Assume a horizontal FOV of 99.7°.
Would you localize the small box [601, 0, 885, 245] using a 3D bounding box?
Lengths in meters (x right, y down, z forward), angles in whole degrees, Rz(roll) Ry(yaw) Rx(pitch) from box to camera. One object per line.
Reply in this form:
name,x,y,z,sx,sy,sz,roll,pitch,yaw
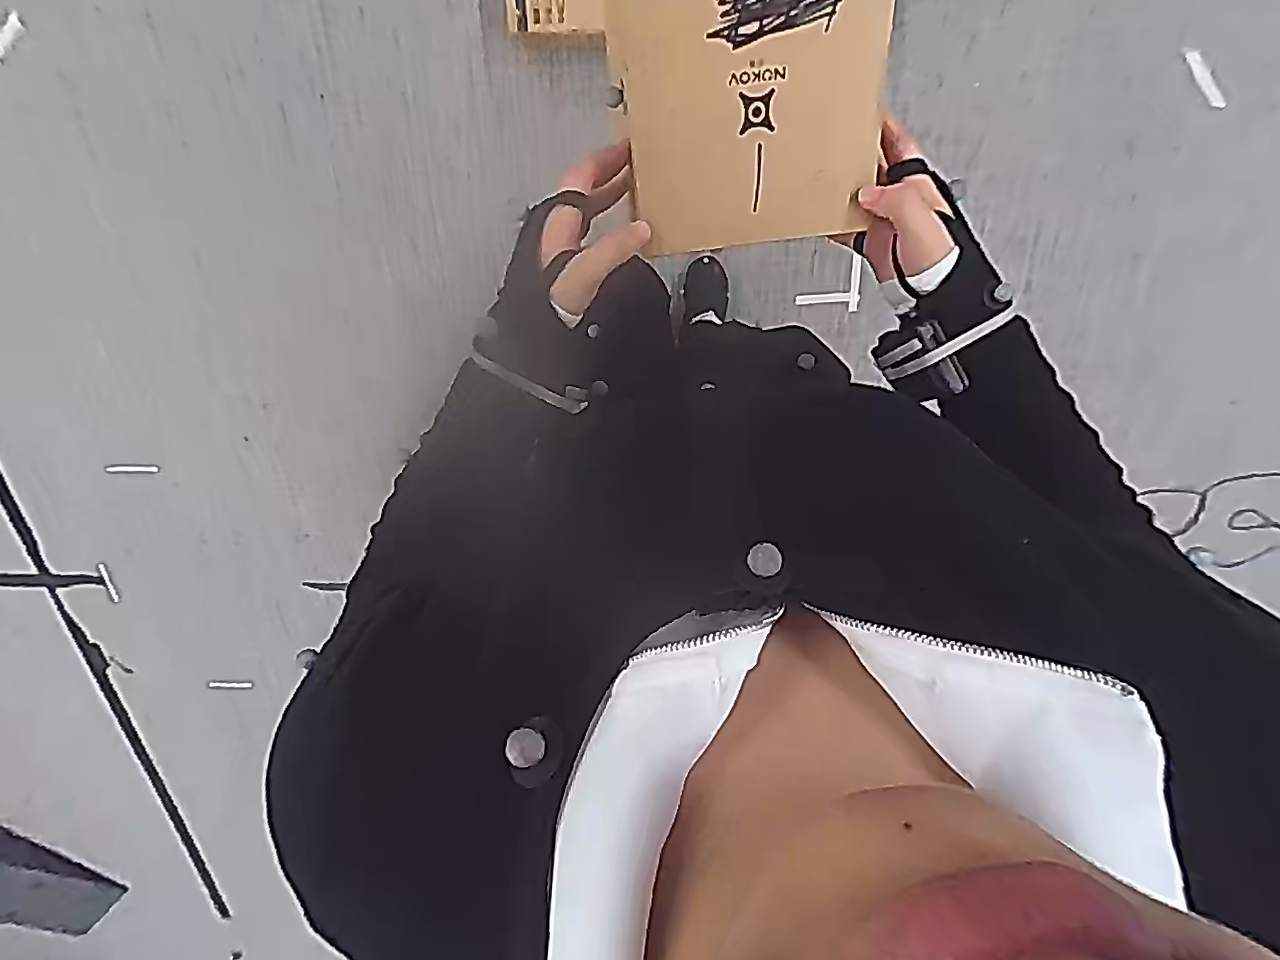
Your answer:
small box,0.063,-0.290,0.413,0.168,0.176,0.179,-8,121,-1
